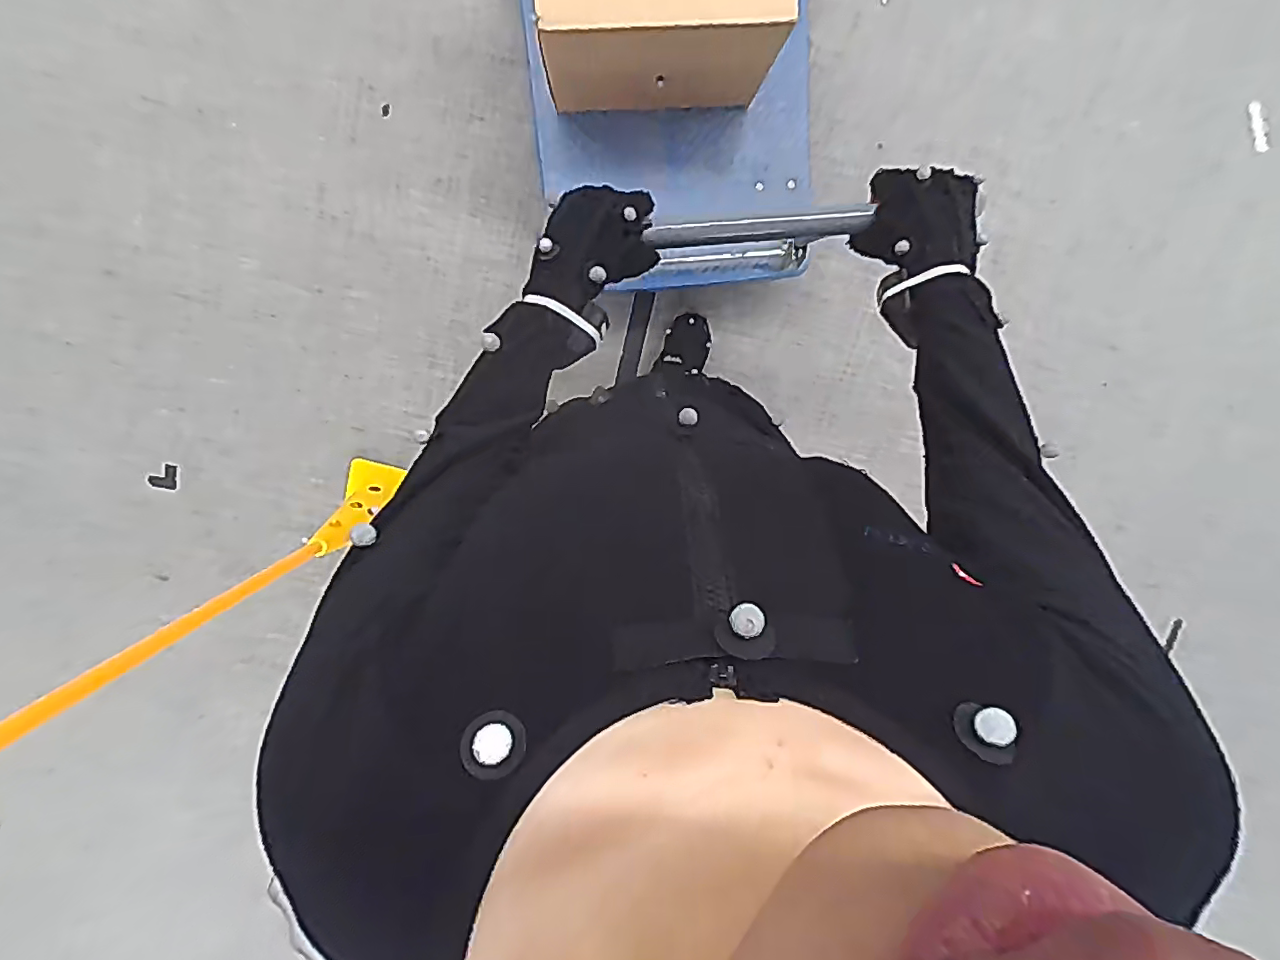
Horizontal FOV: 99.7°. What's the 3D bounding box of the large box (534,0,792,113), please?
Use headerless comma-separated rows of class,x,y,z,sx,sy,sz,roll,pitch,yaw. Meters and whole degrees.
large box,0.026,-0.878,0.943,0.408,0.320,0.320,-3,104,-2

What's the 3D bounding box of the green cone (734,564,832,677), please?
green cone,0.403,0.394,1.411,0.202,0.368,0.200,16,102,-8
